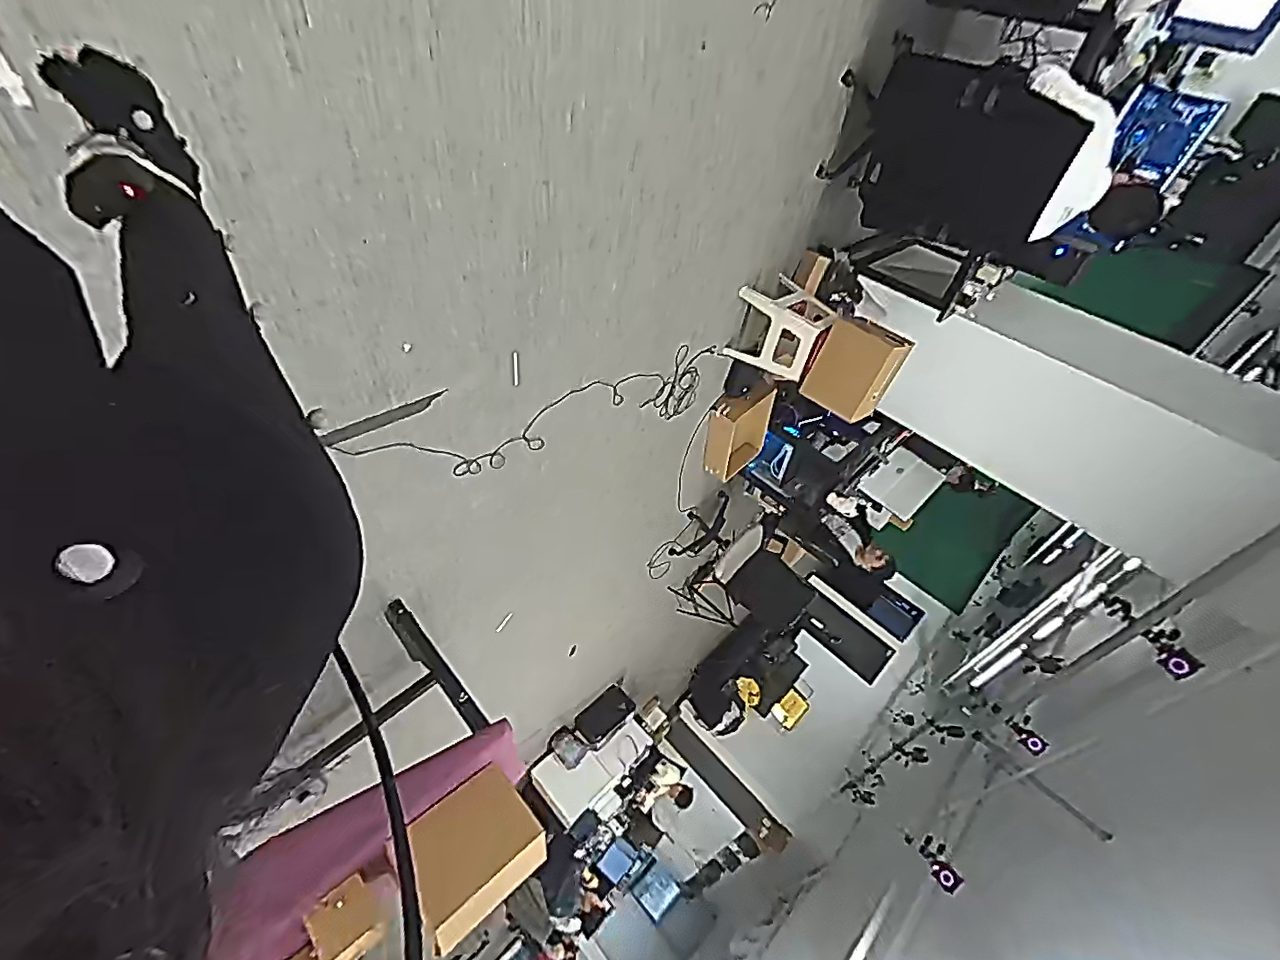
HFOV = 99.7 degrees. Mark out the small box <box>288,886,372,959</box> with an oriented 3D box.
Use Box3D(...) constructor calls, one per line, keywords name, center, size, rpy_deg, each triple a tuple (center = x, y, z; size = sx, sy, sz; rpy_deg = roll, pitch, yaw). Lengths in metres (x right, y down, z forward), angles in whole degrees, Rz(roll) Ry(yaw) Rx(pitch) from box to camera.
Box3D(name="small box", center=(-0.928, 1.374, 1.624), size=(0.168, 0.176, 0.179), rpy_deg=(-24, 143, -43))
